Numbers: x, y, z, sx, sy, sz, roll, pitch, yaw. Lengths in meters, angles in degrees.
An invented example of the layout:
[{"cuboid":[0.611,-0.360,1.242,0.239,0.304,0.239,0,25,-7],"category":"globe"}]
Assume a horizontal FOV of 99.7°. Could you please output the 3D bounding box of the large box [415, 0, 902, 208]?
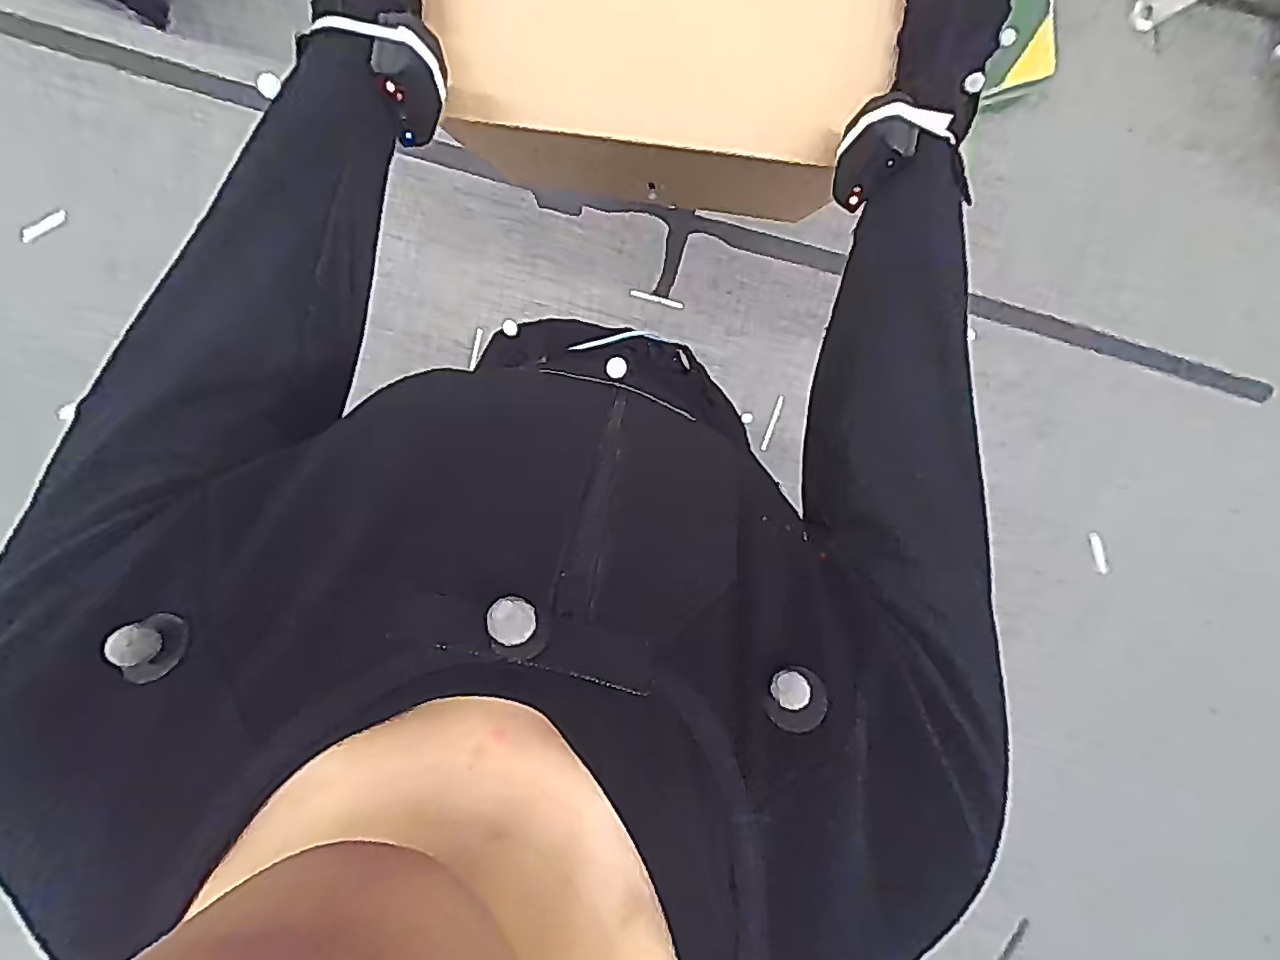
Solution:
[{"cuboid":[0.028,-0.491,0.563,0.408,0.320,0.320,8,108,1],"category":"large box"}]
